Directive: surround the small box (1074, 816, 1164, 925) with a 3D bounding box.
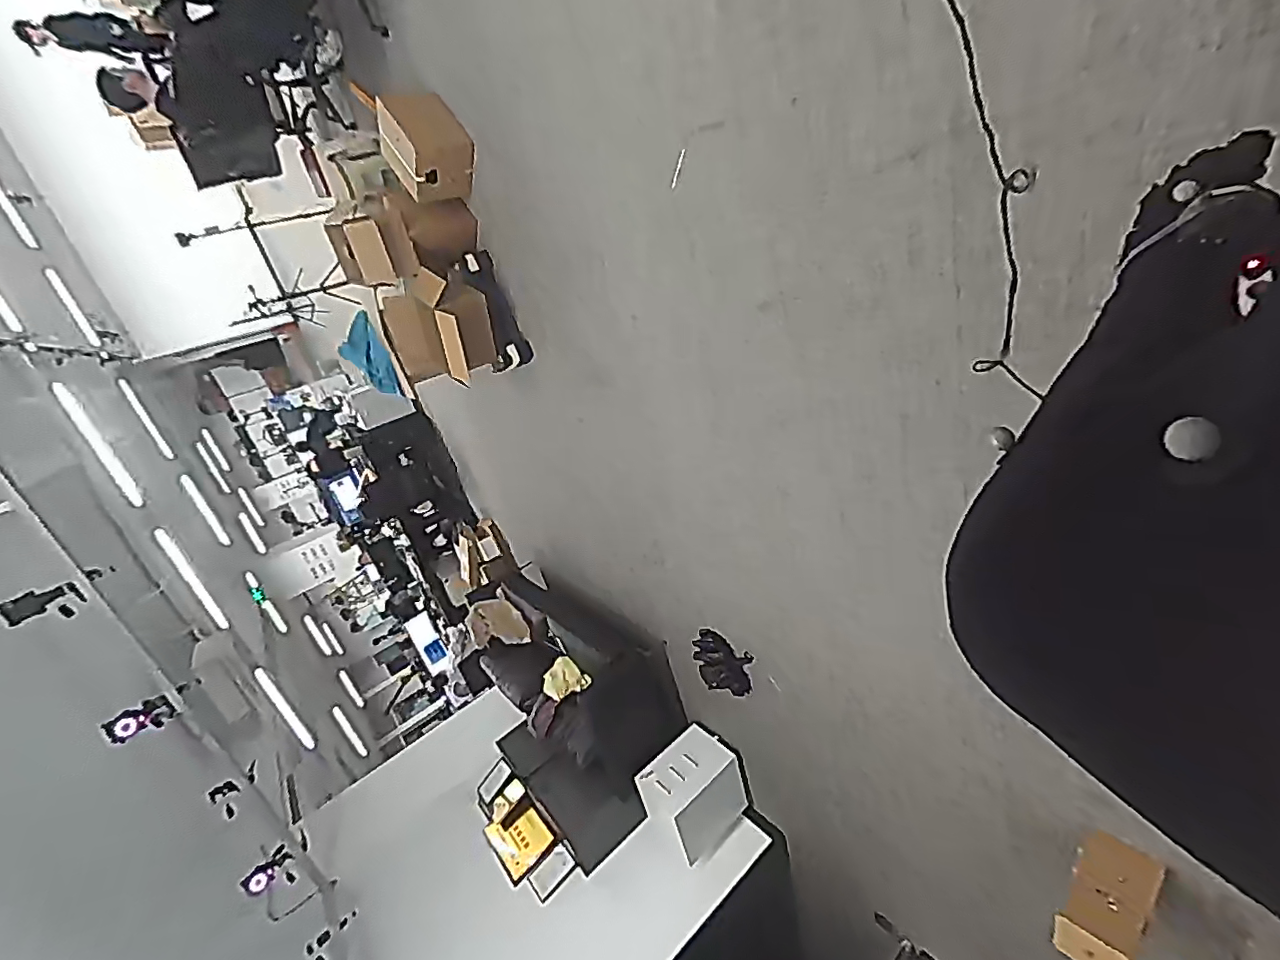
[{"bbox_3d":[1.464,1.188,1.658,0.179,0.176,0.168,19,131,51],"label":"small box"}]

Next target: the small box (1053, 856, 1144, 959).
[{"bbox_3d":[1.343,1.267,1.584,0.168,0.176,0.179,14,127,51],"label":"small box"}]
